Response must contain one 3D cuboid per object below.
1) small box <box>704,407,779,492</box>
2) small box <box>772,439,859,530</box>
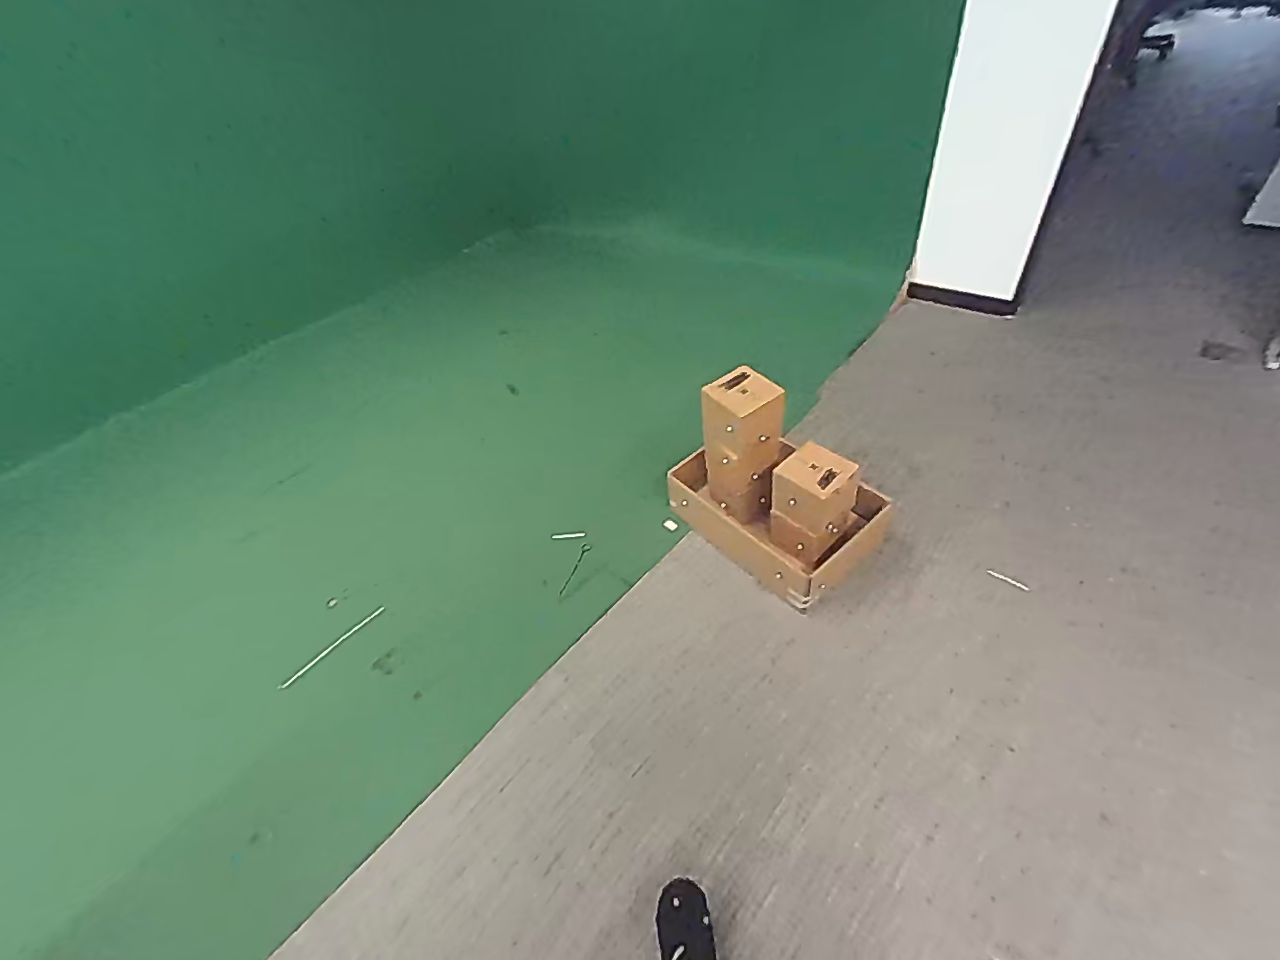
[{"bbox_3d":[0.318,-0.096,1.721,0.168,0.176,0.179,-27,50,-14],"label":"small box"},{"bbox_3d":[0.505,0.018,1.563,0.168,0.176,0.179,-37,48,-21],"label":"small box"}]
